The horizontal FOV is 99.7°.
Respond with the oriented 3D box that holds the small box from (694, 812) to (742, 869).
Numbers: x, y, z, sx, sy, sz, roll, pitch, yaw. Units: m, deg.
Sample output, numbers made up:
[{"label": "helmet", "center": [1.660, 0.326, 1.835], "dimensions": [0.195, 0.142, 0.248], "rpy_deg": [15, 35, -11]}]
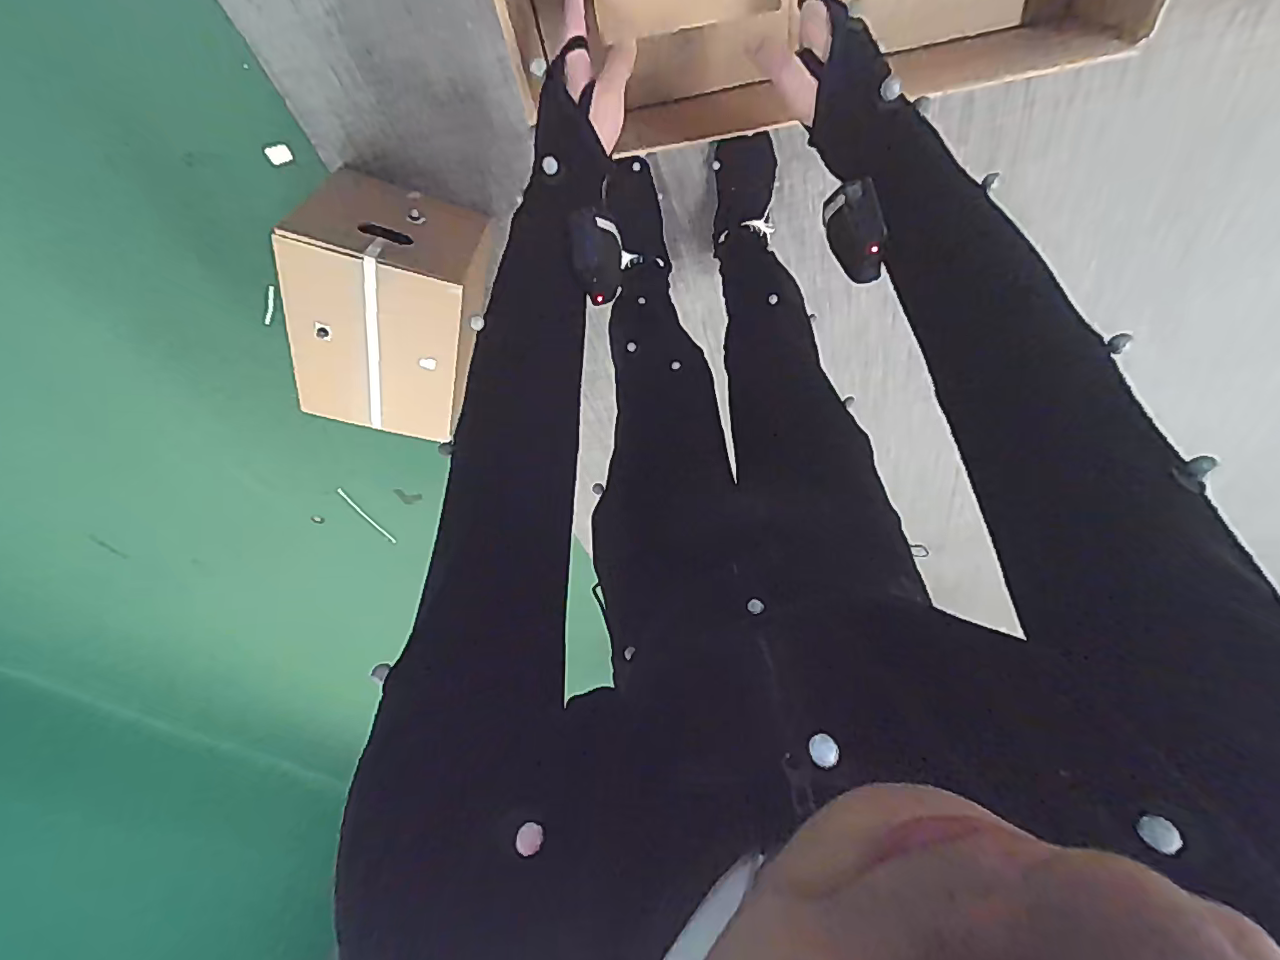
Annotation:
[{"label": "small box", "center": [0.316, 1.490, 2.235], "dimensions": [0.168, 0.176, 0.179], "rpy_deg": [-16, 135, 11]}]
